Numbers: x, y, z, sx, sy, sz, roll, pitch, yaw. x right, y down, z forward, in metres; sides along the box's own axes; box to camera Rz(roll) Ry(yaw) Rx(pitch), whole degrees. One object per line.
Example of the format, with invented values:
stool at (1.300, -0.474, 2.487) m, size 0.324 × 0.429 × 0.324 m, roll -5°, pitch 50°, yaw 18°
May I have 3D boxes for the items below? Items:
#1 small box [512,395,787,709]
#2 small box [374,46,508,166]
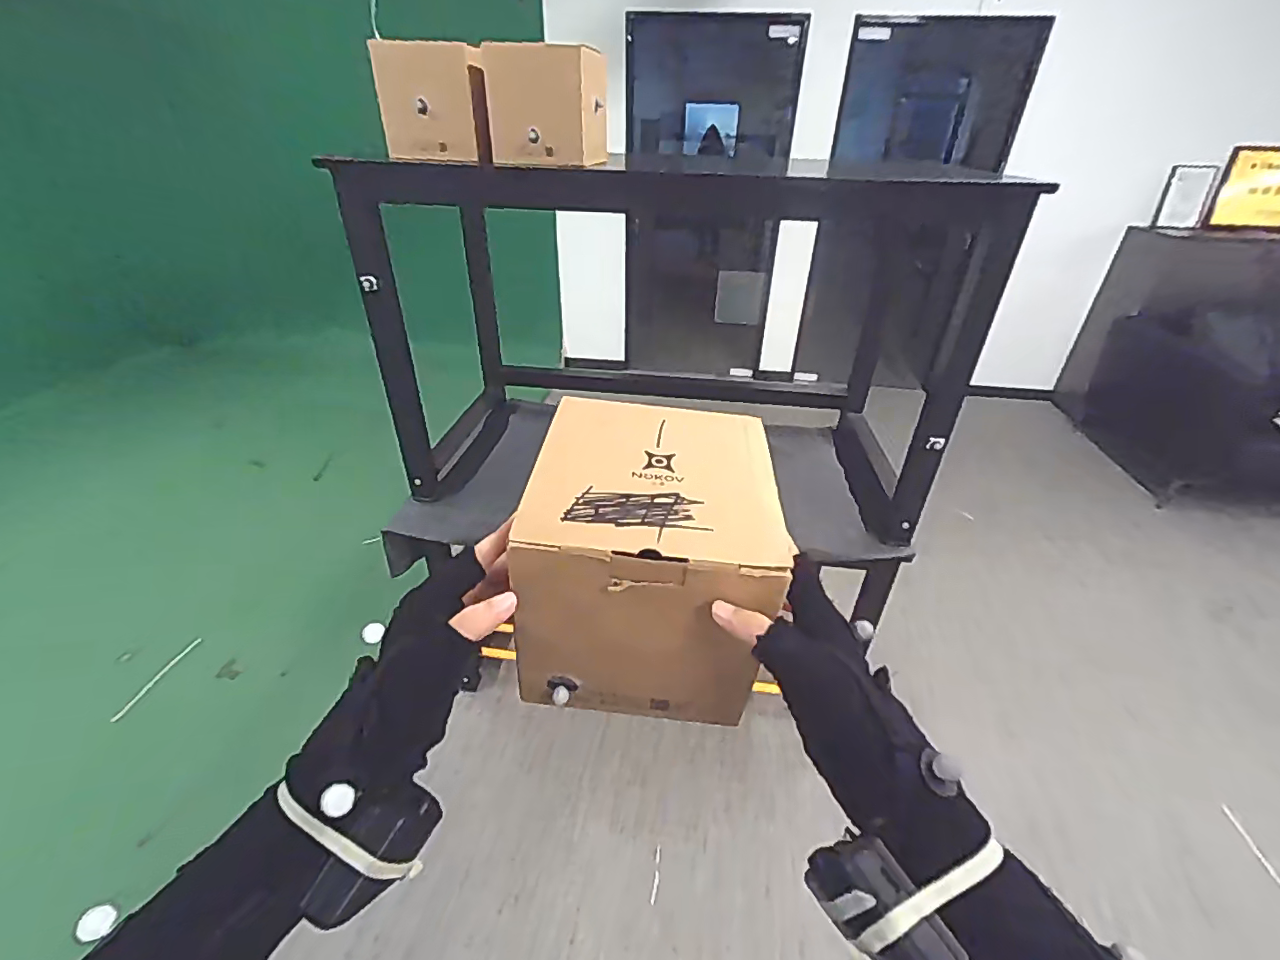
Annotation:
small box at (0.007, 0.054, 0.427) m, size 0.168 × 0.176 × 0.179 m, roll 7°, pitch 36°, yaw 1°
small box at (-0.349, -0.678, 0.992) m, size 0.168 × 0.176 × 0.179 m, roll 6°, pitch 33°, yaw 5°
